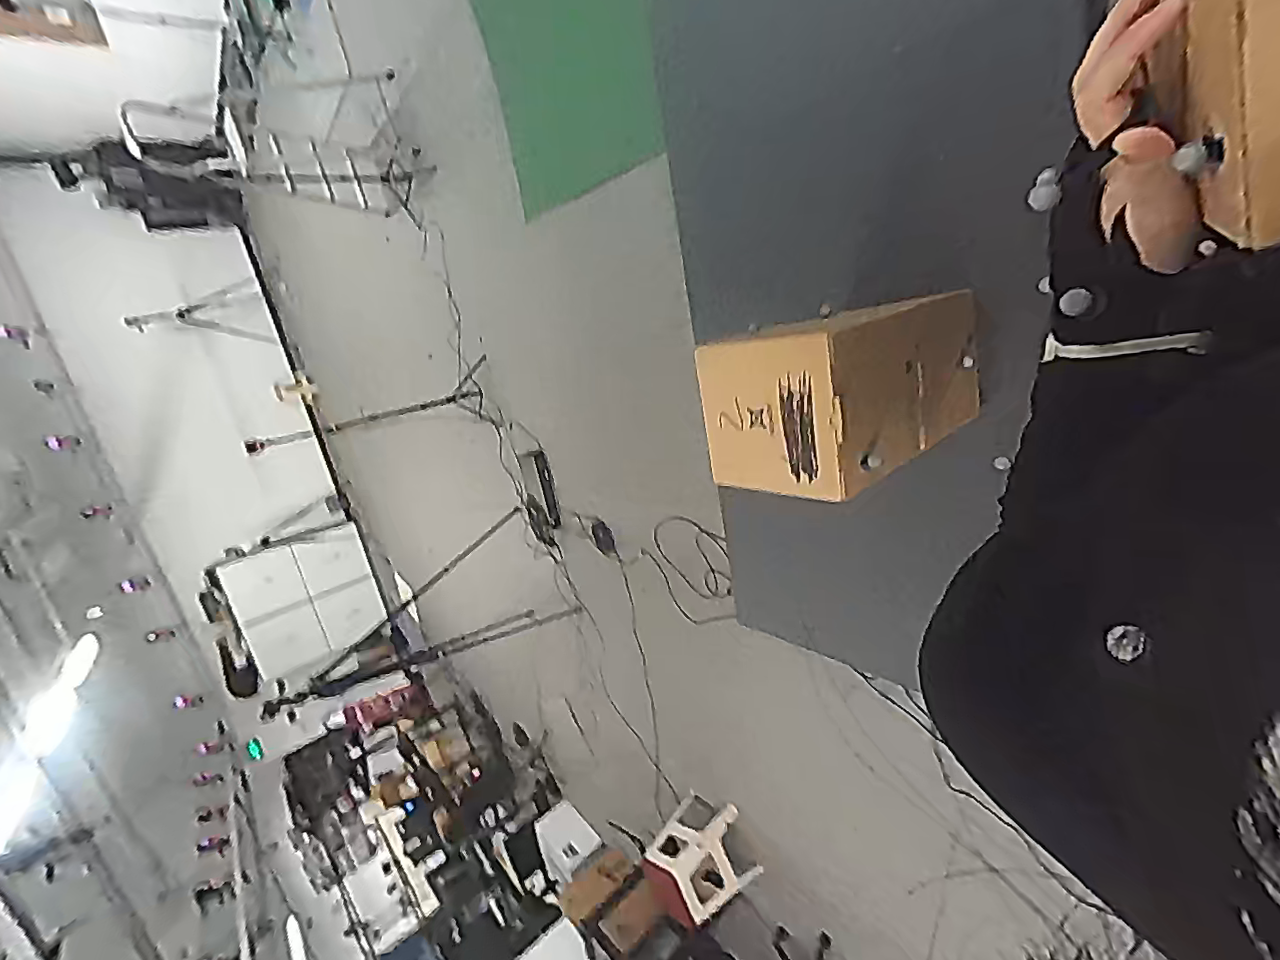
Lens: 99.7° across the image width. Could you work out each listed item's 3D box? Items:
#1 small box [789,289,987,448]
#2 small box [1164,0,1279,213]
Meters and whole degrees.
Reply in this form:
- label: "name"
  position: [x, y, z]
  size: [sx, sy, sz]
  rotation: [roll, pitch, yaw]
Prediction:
- label: "small box"
  position: [0.328, -0.145, 0.717]
  size: [0.179, 0.176, 0.168]
  rotation: [5, 113, 51]
- label: "small box"
  position: [0.324, -0.229, 0.201]
  size: [0.168, 0.176, 0.179]
  rotation: [-11, 116, 38]
